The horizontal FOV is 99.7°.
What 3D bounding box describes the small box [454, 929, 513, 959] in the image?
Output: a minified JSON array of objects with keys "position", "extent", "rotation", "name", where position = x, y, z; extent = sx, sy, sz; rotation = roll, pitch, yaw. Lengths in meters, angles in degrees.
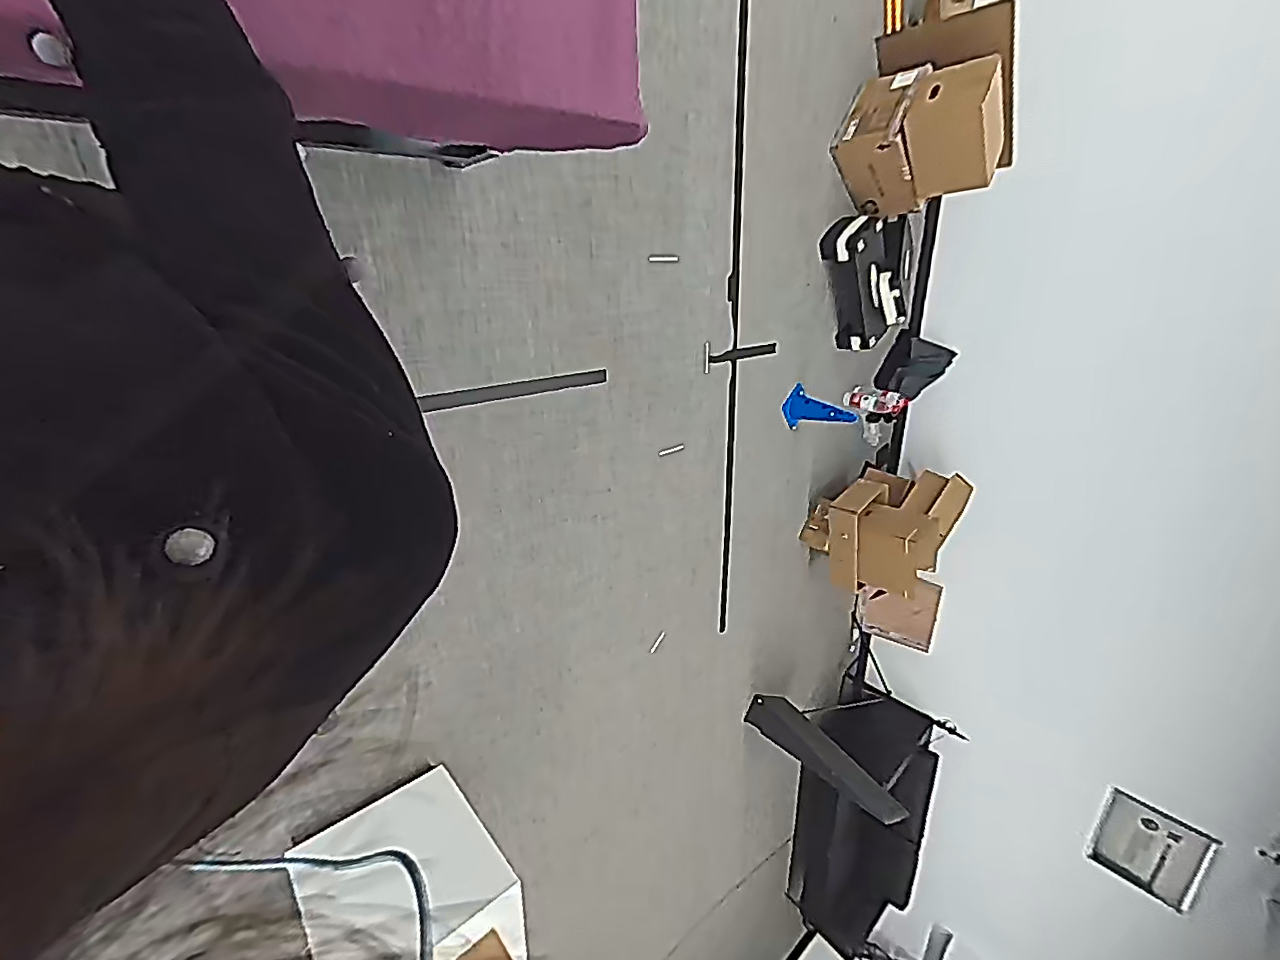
[{"position":[-0.433,1.415,1.496],"extent":[0.179,0.176,0.168],"rotation":[-19,118,-38],"name":"small box"}]
